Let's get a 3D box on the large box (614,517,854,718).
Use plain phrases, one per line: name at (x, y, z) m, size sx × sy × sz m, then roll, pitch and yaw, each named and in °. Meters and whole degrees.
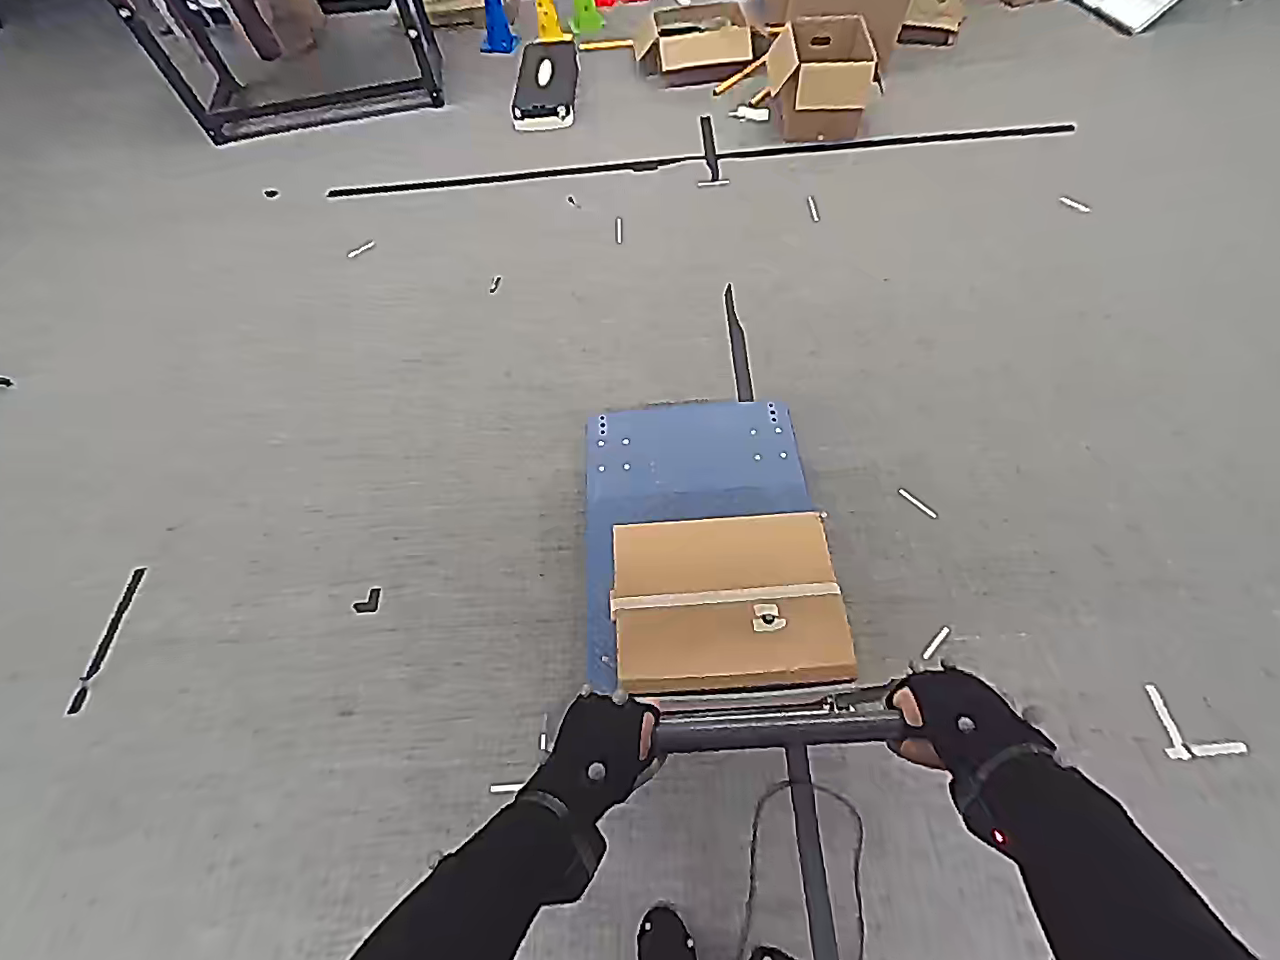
large box at (0.162, 0.296, 1.121) m, size 0.408 × 0.320 × 0.320 m, roll -4°, pitch 61°, yaw 0°
